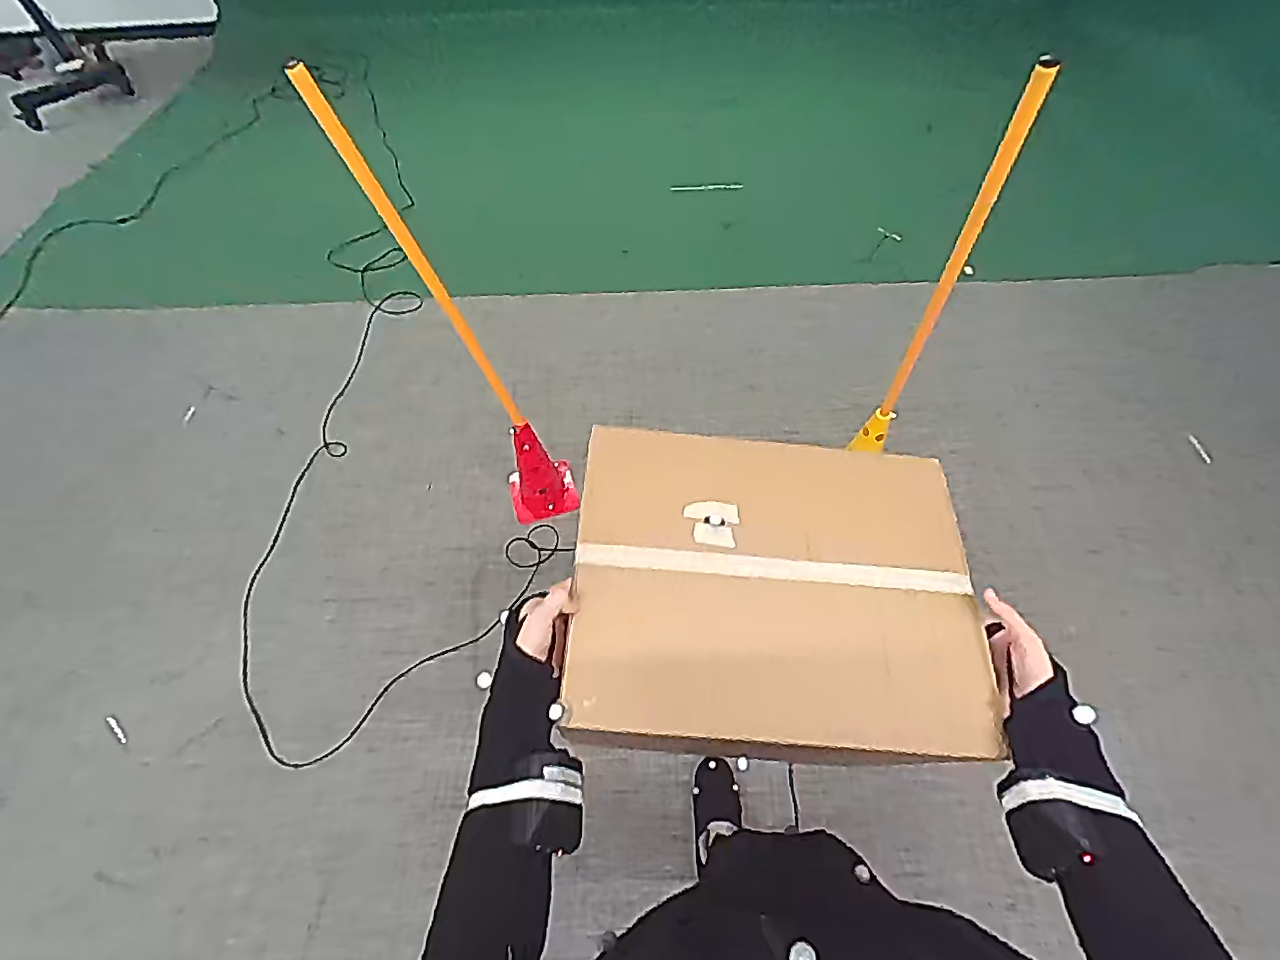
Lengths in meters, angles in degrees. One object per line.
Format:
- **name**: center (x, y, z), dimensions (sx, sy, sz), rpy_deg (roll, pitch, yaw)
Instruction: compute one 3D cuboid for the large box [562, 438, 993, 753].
- **large box**: center (0.126, 0.167, 0.687), dimensions (0.408, 0.320, 0.320), rpy_deg (4, 60, -2)
